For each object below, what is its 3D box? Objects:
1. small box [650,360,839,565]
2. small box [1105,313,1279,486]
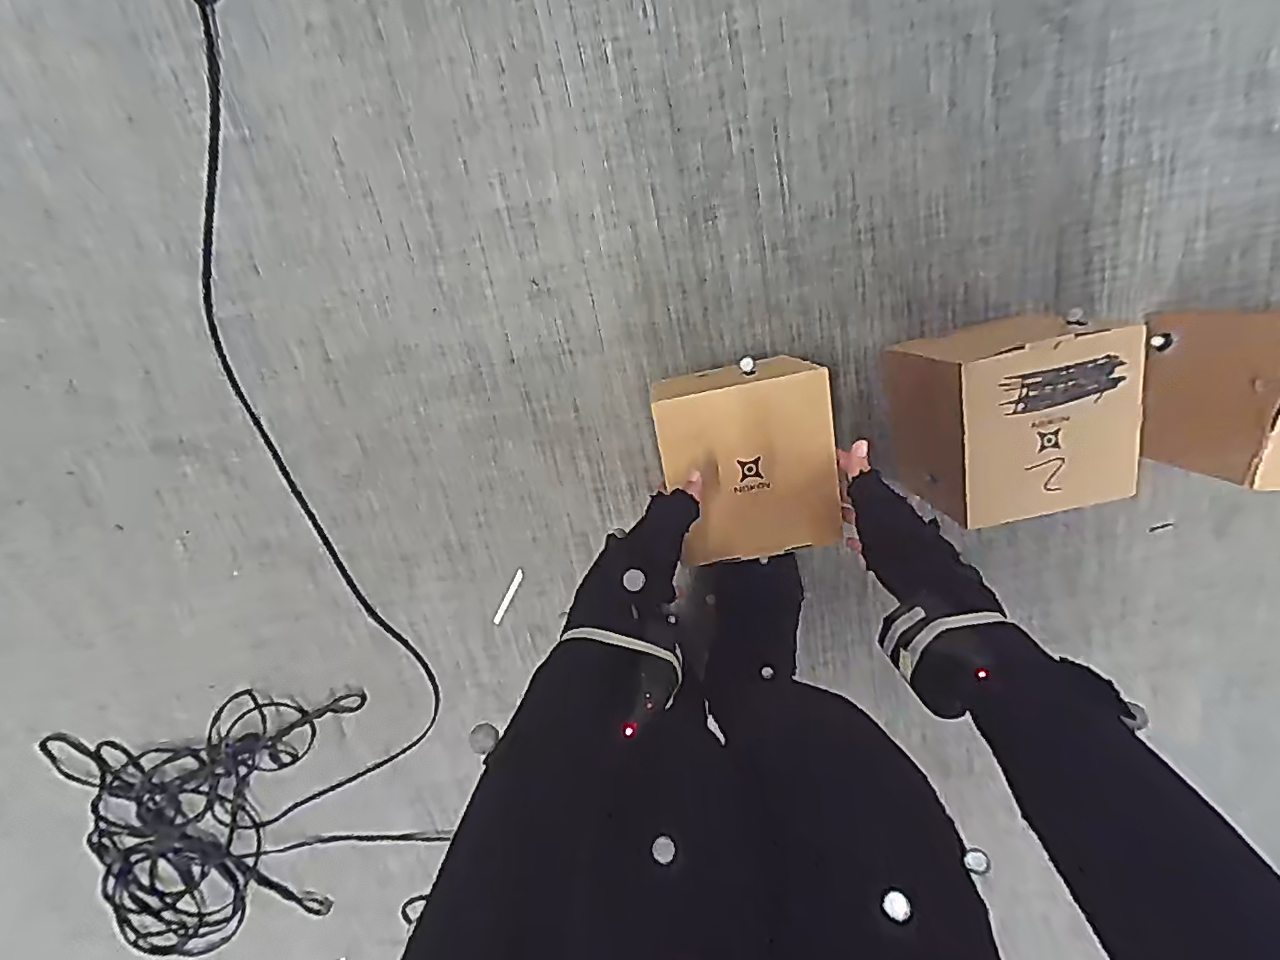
[{"bbox_3d":[0.104,-0.031,0.596,0.168,0.176,0.179,-11,107,5],"label":"small box"},{"bbox_3d":[0.676,-0.093,0.592,0.179,0.176,0.168,2,108,-2],"label":"small box"}]
